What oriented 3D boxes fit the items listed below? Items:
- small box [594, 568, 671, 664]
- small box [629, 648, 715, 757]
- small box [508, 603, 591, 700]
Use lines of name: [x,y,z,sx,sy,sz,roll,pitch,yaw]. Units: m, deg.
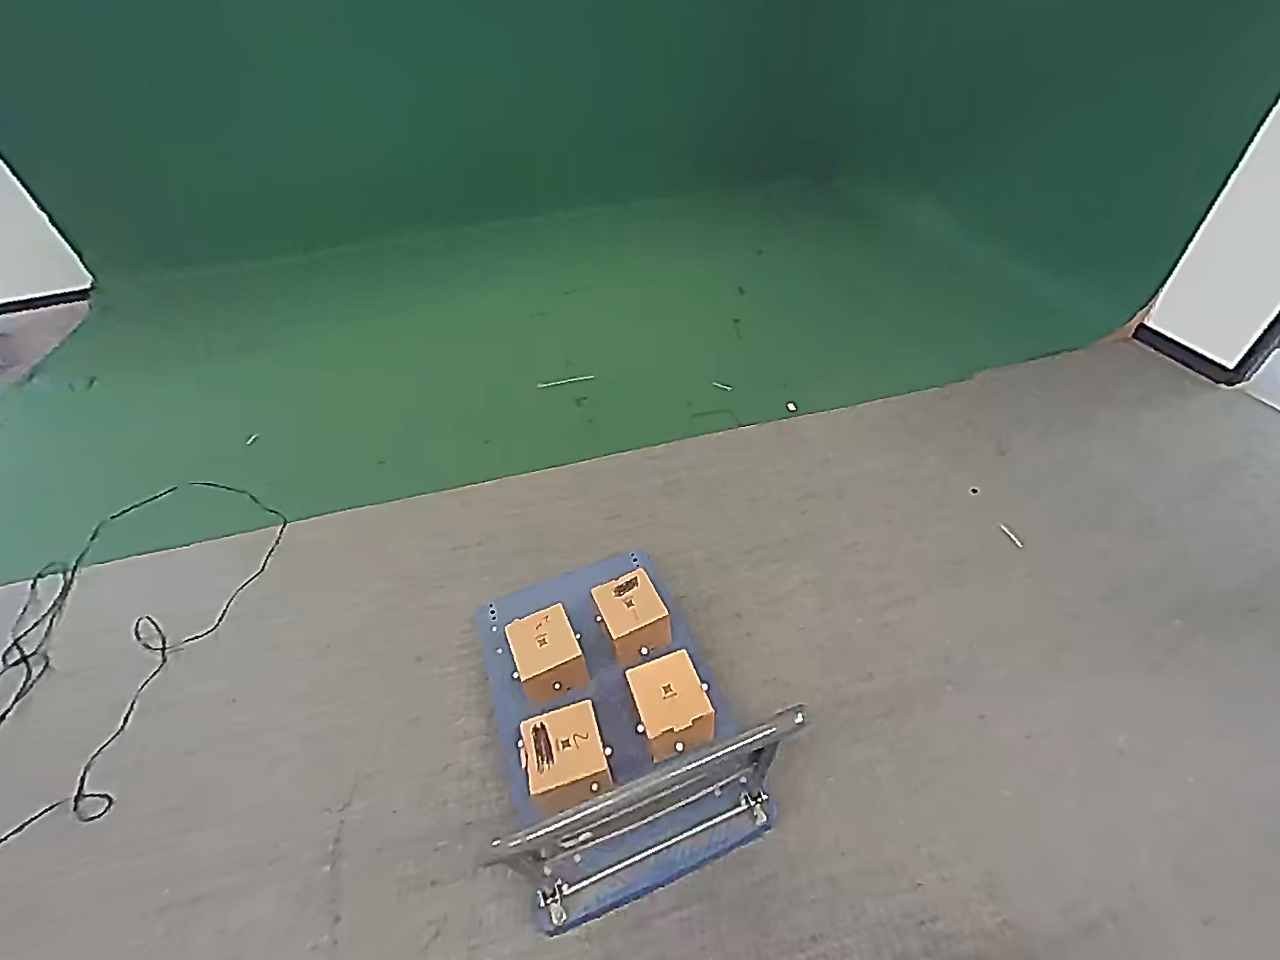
small box: [-0.020,0.394,1.560,0.168,0.176,0.179,-21,48,-13]
small box: [0.078,0.568,1.378,0.168,0.176,0.179,-17,46,-11]
small box: [-0.247,0.482,1.498,0.168,0.176,0.179,-20,46,-15]
